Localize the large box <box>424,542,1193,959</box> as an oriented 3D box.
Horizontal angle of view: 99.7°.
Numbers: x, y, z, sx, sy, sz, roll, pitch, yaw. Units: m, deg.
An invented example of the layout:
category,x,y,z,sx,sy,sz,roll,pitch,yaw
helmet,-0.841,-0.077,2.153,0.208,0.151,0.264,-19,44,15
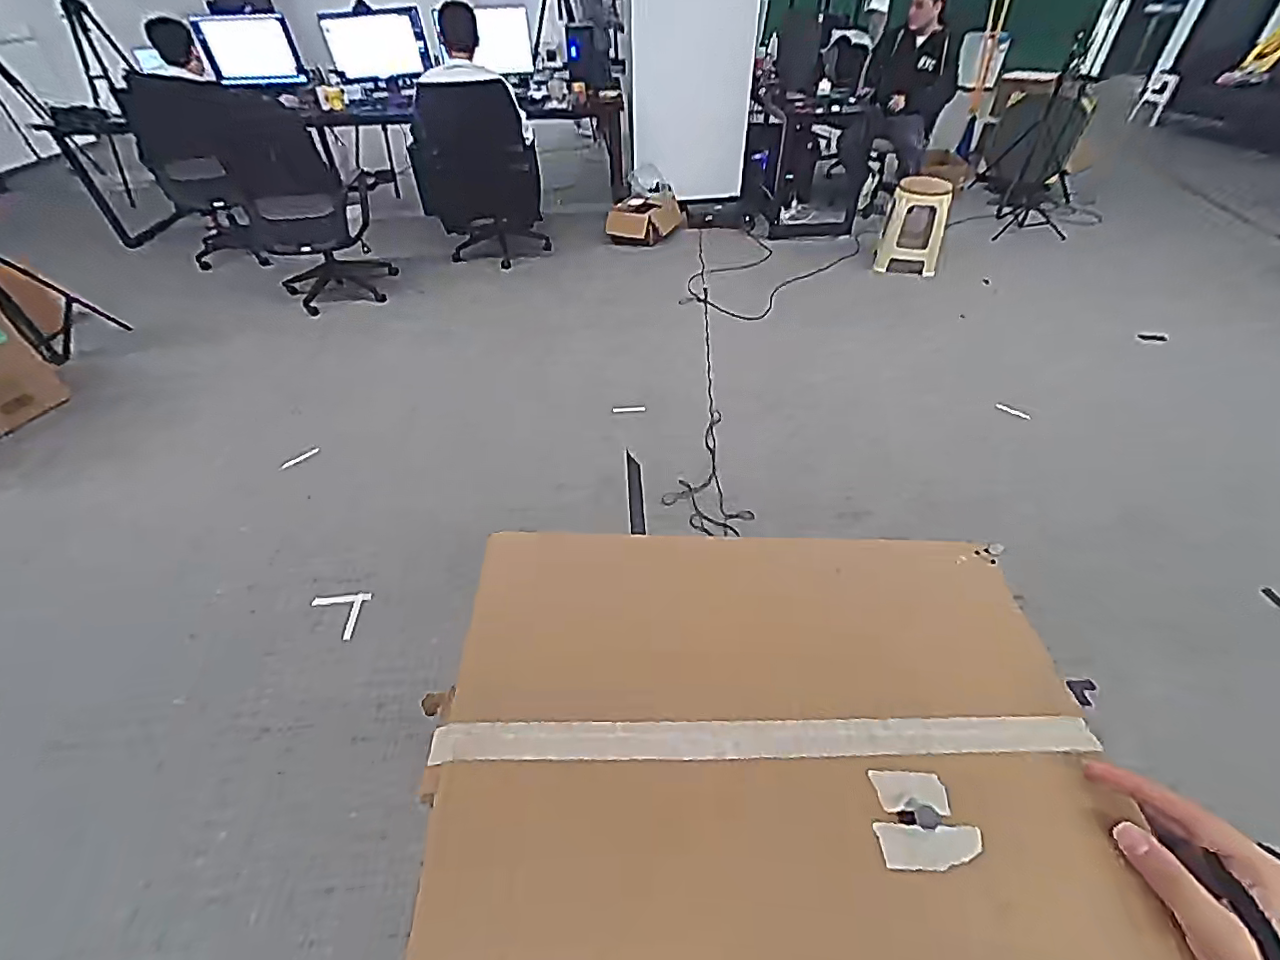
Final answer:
category,x,y,z,sx,sy,sz,roll,pitch,yaw
large box,0.074,0.267,0.452,0.408,0.320,0.320,2,47,-5
